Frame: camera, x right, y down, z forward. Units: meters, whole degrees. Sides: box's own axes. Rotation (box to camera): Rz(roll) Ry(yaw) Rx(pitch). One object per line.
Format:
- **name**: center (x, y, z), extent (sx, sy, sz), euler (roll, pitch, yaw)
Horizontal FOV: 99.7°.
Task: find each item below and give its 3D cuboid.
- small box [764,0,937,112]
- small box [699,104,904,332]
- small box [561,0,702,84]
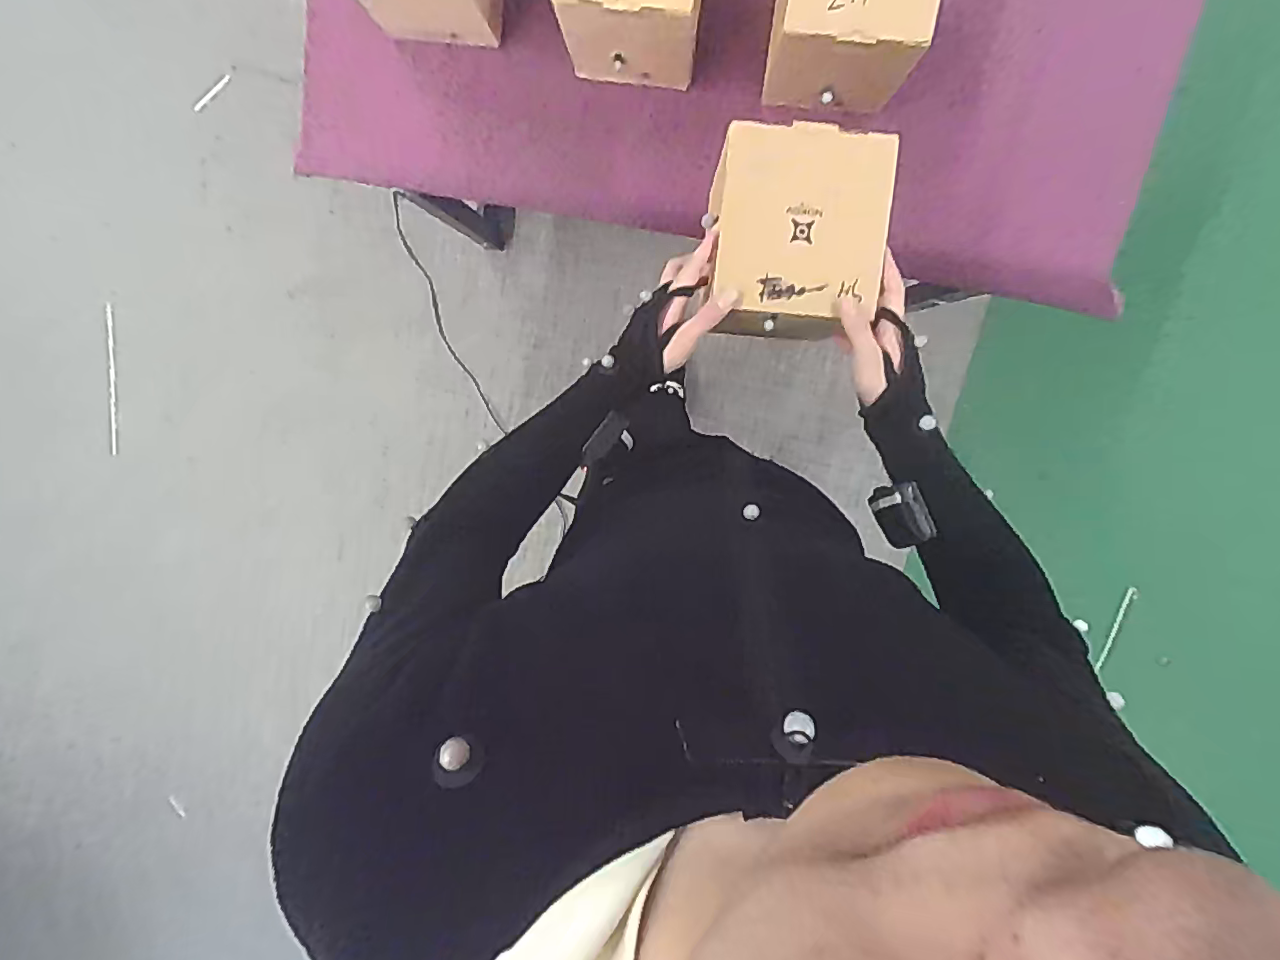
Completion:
- **small box**: center (0.256, -0.596, 0.666), extent (0.168, 0.176, 0.179), euler (8, 102, 2)
- **small box**: center (0.161, -0.272, 0.601), extent (0.168, 0.176, 0.179), euler (6, 98, 0)
- **small box**: center (-0.004, -0.642, 0.675), extent (0.168, 0.176, 0.179), euler (8, 103, 2)
